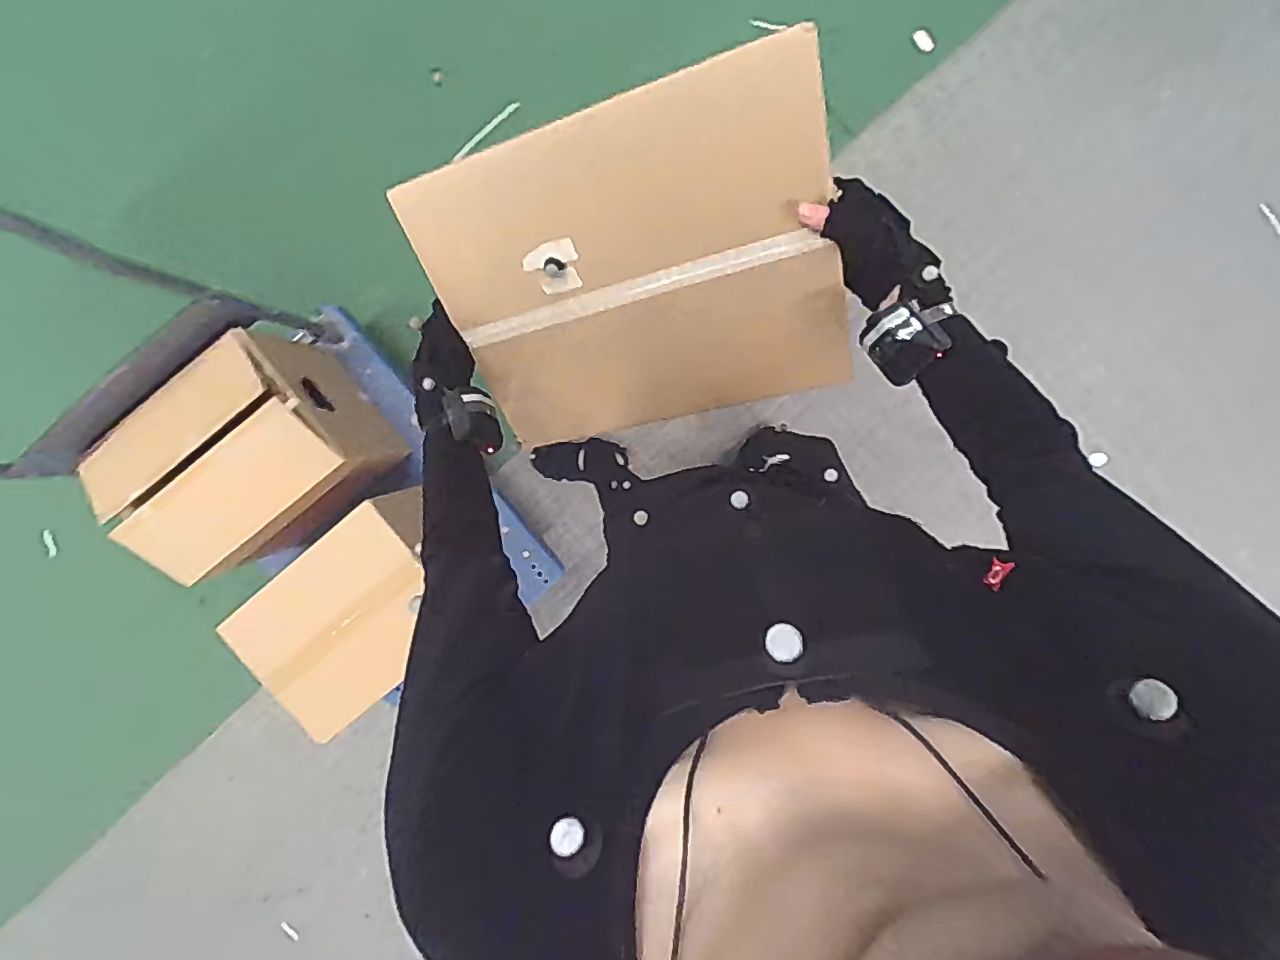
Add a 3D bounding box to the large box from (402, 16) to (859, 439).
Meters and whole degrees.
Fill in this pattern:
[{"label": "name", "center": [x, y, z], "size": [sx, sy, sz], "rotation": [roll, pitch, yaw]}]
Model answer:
[{"label": "large box", "center": [0.022, -0.291, 0.657], "size": [0.408, 0.320, 0.320], "rotation": [-9, 126, 17]}]
